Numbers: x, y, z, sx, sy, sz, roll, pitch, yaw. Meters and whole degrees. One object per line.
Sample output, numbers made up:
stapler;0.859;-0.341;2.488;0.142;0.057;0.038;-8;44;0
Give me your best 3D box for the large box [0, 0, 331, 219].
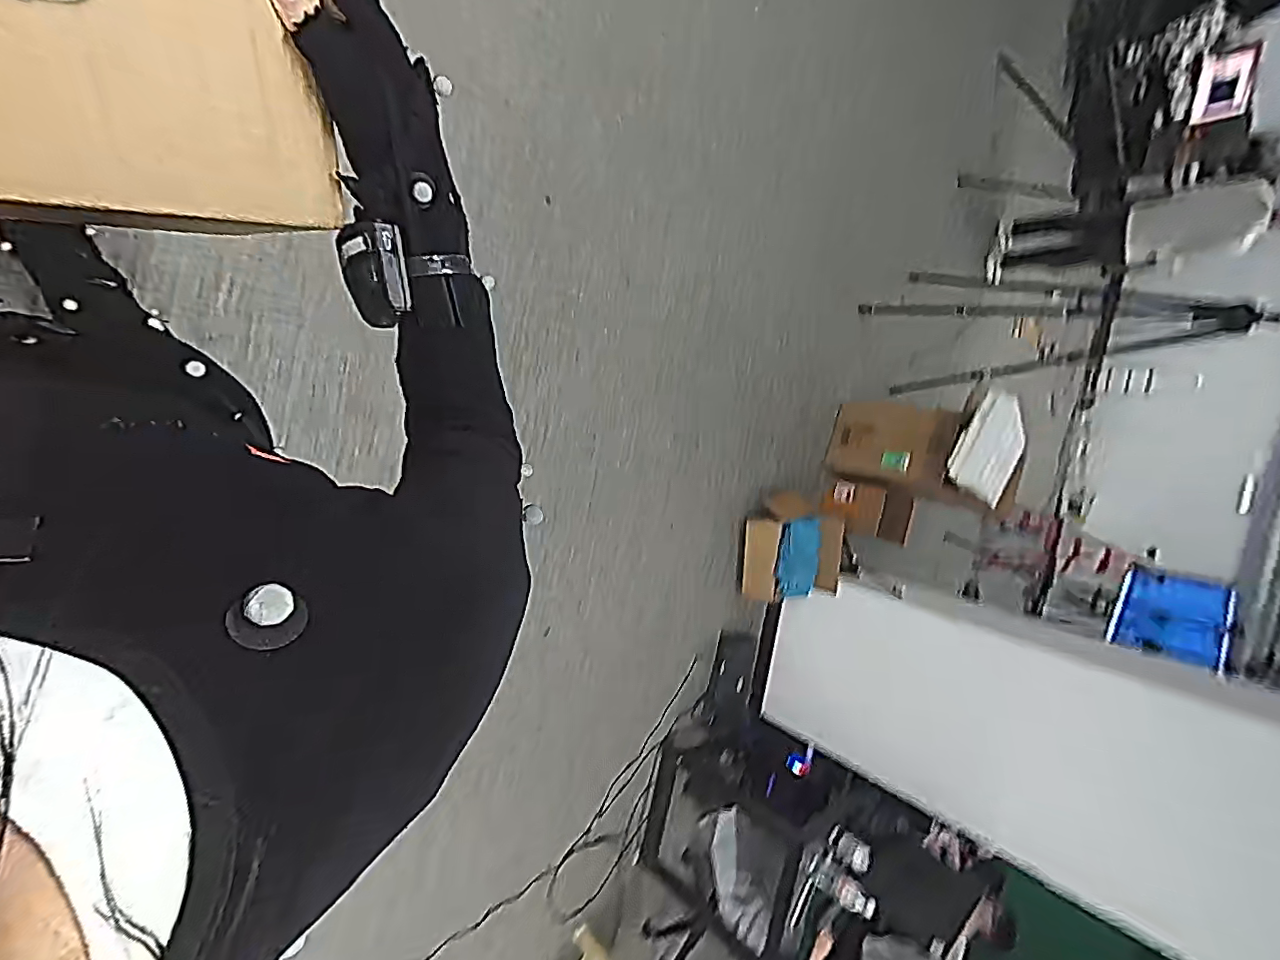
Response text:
large box;-0.461;-0.328;0.293;0.408;0.320;0.320;-19;121;-43
